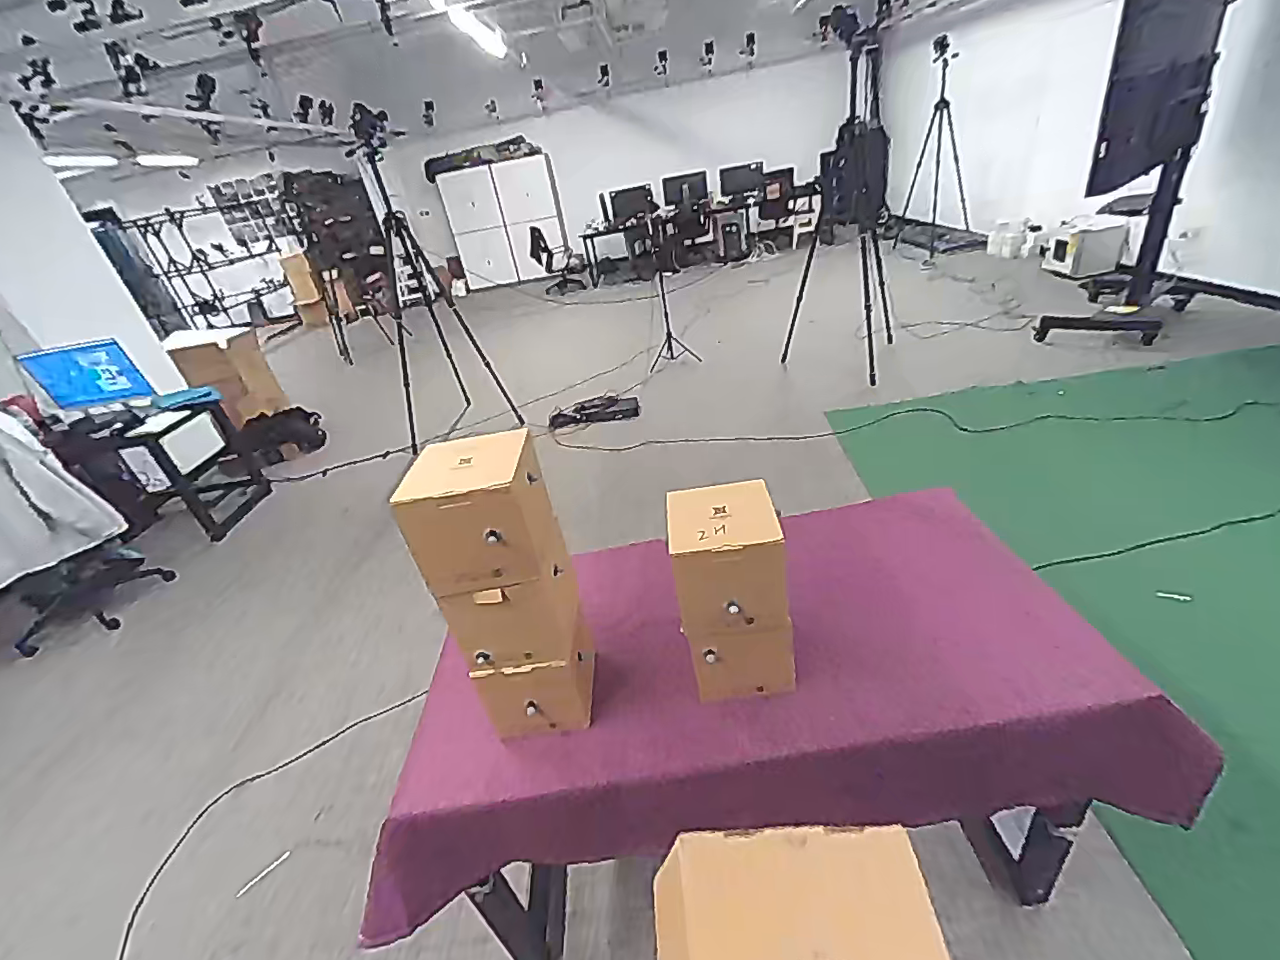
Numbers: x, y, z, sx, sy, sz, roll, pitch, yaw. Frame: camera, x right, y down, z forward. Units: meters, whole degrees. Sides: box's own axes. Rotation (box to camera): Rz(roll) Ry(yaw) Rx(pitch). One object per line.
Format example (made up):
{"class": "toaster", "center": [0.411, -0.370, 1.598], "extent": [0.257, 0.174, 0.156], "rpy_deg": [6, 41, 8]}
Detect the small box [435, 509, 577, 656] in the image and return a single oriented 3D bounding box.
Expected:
{"class": "small box", "center": [-0.206, 0.173, 0.893], "extent": [0.168, 0.176, 0.179], "rpy_deg": [-8, 30, 5]}

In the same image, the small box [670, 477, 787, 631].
{"class": "small box", "center": [0.140, 0.117, 0.875], "extent": [0.168, 0.176, 0.179], "rpy_deg": [-7, 31, 6]}

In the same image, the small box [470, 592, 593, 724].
{"class": "small box", "center": [-0.182, 0.316, 0.971], "extent": [0.168, 0.176, 0.179], "rpy_deg": [-7, 32, 4]}

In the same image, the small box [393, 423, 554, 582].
{"class": "small box", "center": [-0.231, 0.037, 0.807], "extent": [0.168, 0.176, 0.179], "rpy_deg": [-8, 30, 3]}

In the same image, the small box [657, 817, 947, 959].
{"class": "small box", "center": [0.104, 0.358, 0.382], "extent": [0.168, 0.176, 0.179], "rpy_deg": [2, 45, -5]}
